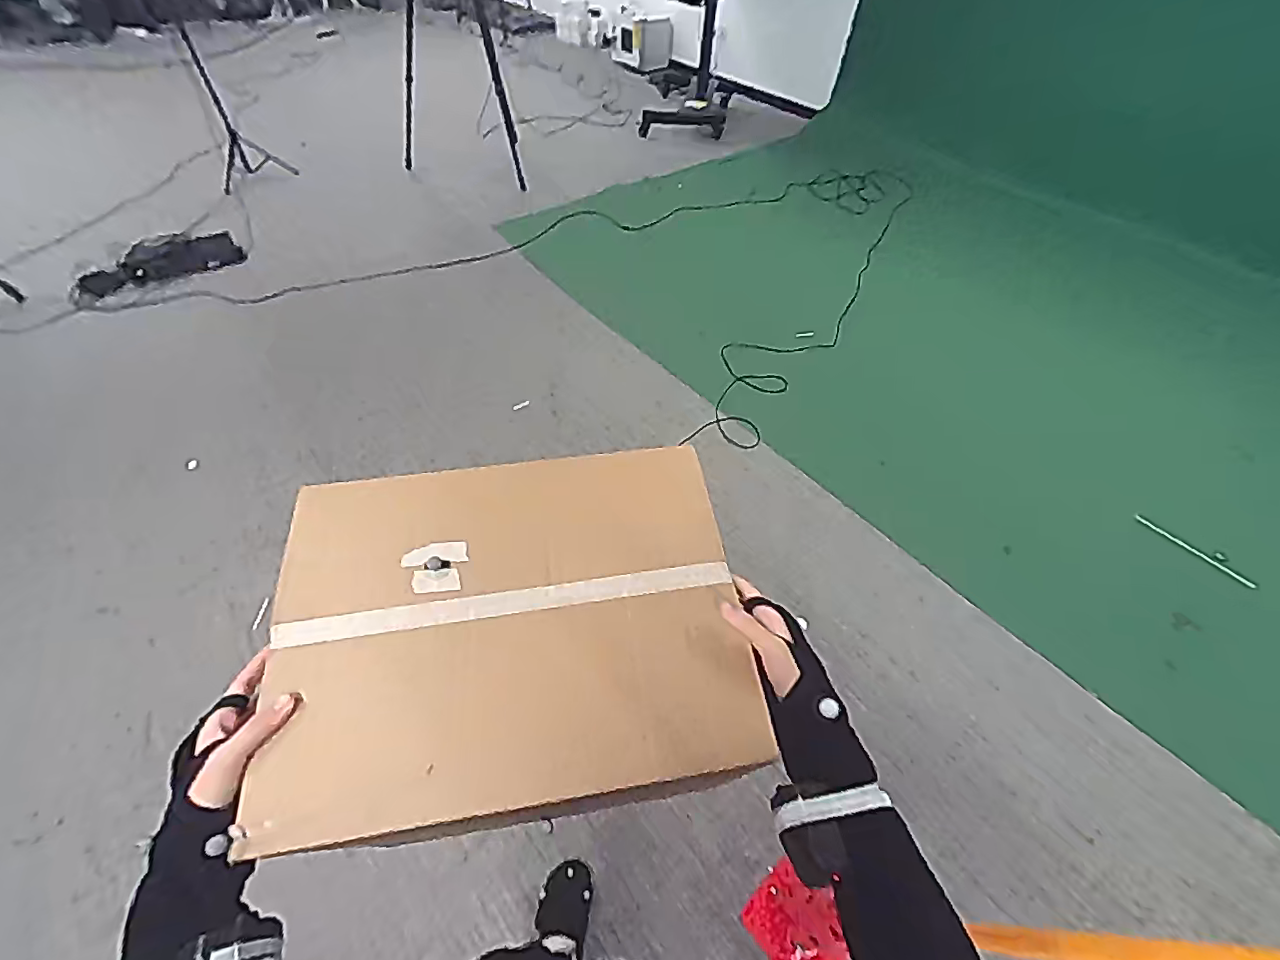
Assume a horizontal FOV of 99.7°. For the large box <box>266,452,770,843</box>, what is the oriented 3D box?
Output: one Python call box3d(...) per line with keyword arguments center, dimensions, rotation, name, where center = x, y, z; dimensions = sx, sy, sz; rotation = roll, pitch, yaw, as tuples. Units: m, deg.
box3d(center=(-0.111, 0.197, 0.628), dimensions=(0.408, 0.320, 0.320), rotation=(-6, 58, -6), name="large box")
